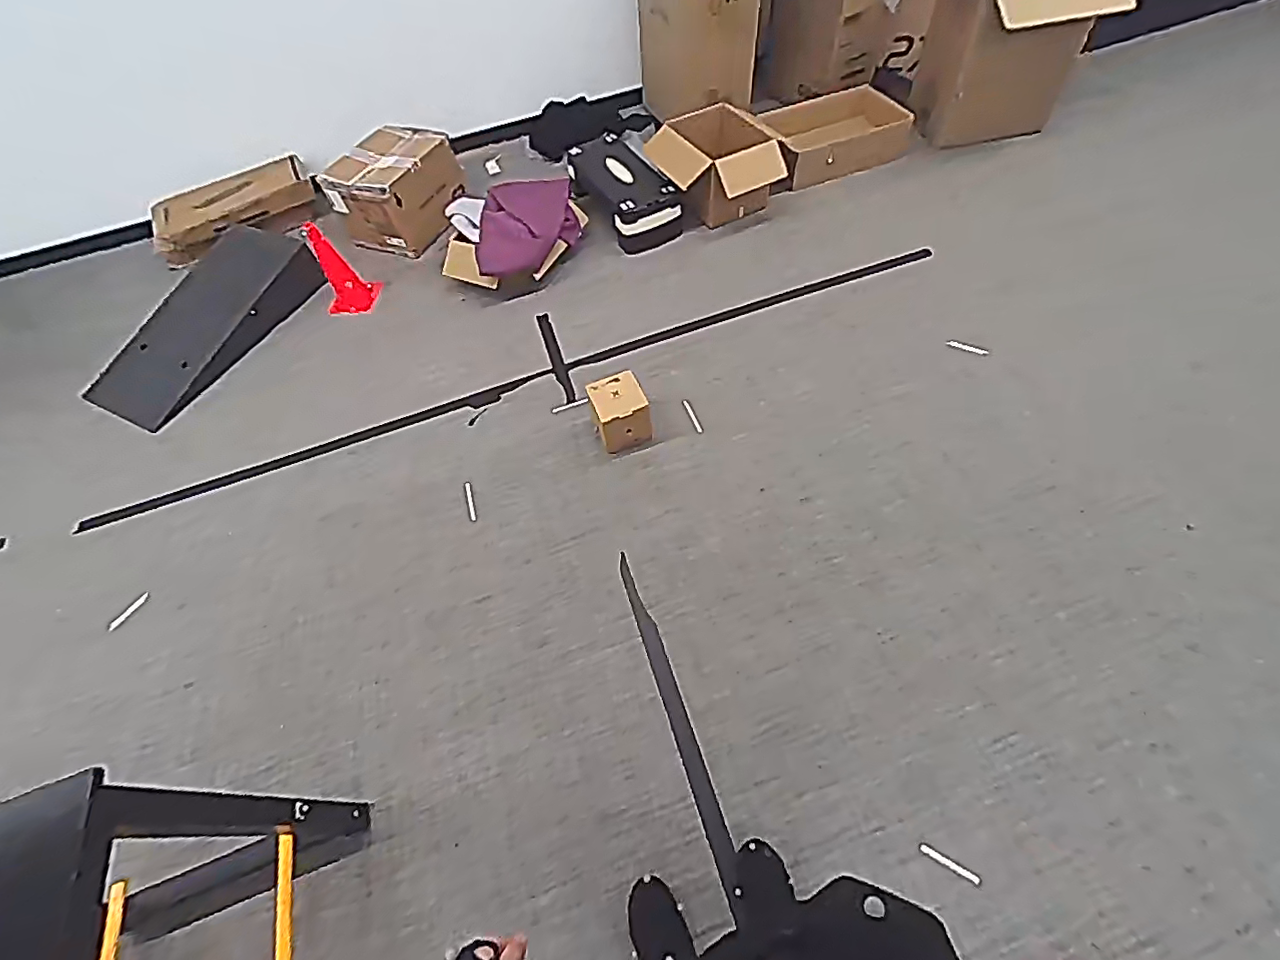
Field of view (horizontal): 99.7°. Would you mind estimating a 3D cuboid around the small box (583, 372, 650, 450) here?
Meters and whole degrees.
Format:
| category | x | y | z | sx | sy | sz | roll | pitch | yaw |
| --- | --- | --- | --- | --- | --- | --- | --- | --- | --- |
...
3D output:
| category | x | y | z | sx | sy | sz | roll | pitch | yaw |
| --- | --- | --- | --- | --- | --- | --- | --- | --- | --- |
| small box | -0.073 | -0.223 | 1.806 | 0.168 | 0.176 | 0.179 | -21 | 58 | -7 |
